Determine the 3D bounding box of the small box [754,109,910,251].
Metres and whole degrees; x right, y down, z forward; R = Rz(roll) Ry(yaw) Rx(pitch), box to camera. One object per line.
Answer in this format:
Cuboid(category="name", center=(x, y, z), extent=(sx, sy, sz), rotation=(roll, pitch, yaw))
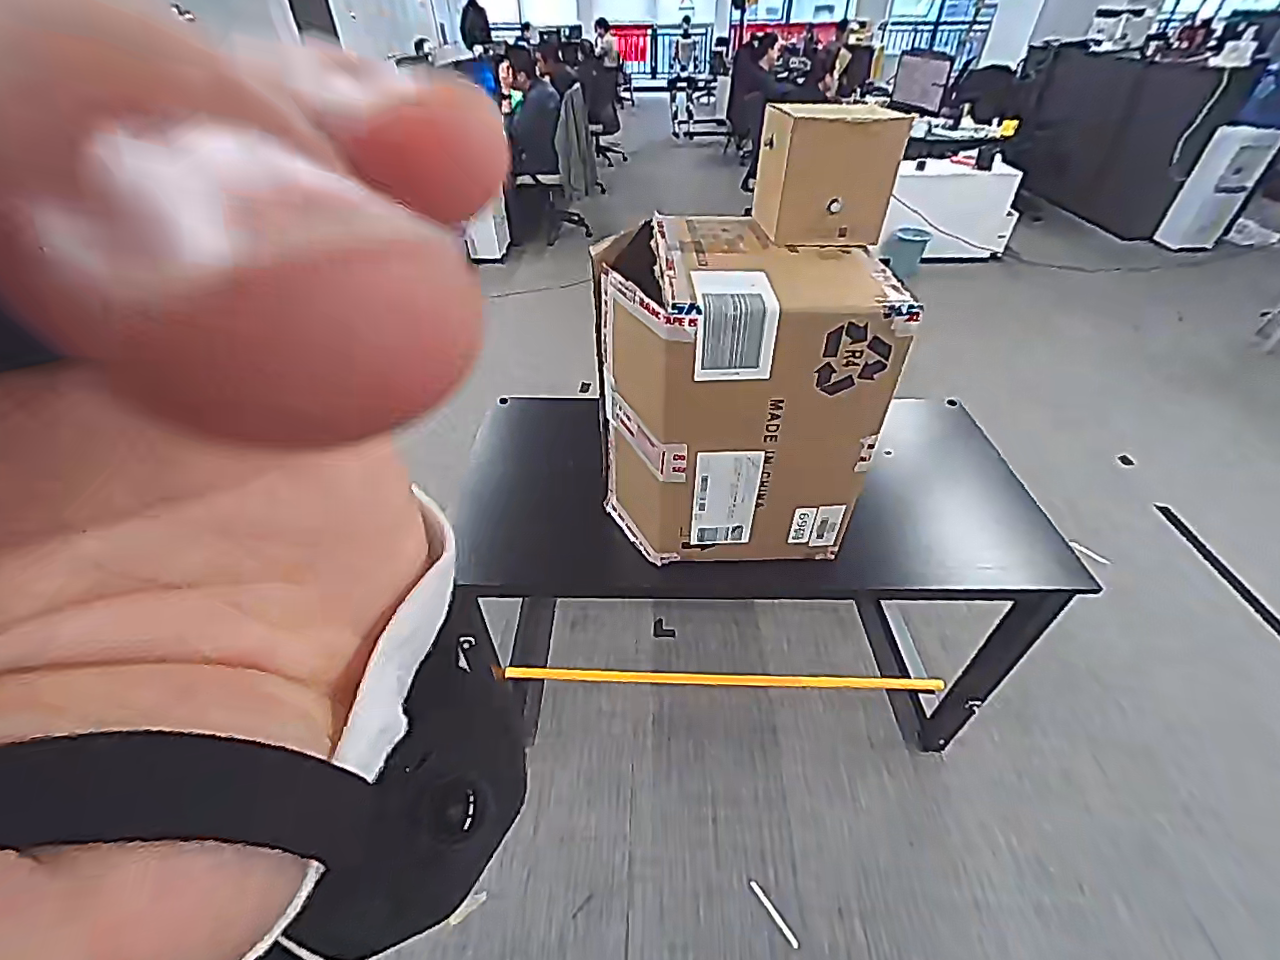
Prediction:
Cuboid(category="small box", center=(0.285, -0.475, 0.852), extent=(0.168, 0.176, 0.179), rotation=(-1, 40, -2))
